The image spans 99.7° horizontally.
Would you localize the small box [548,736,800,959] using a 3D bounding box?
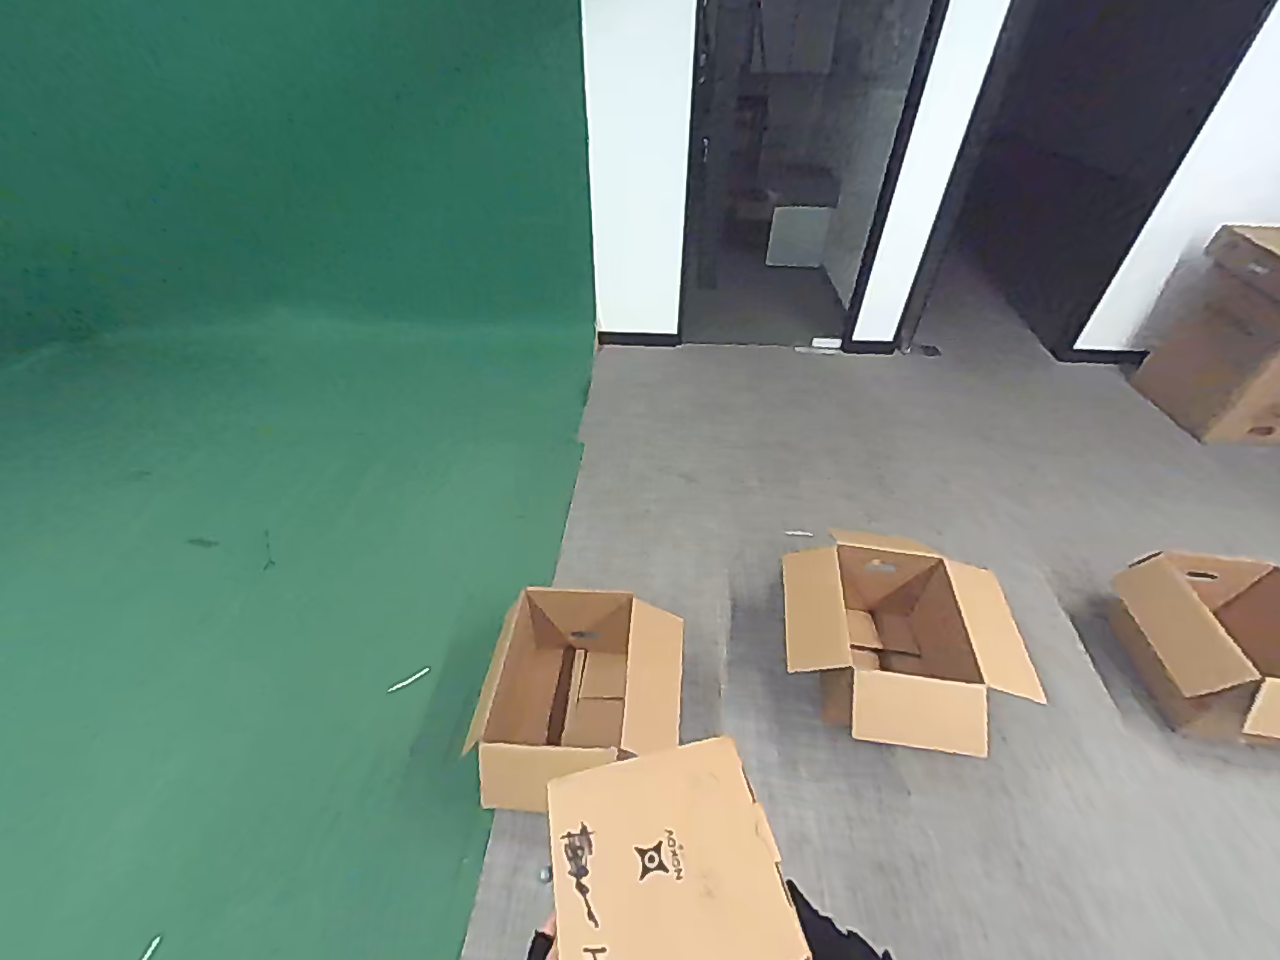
[{"bbox_3d":[0.019,0.362,0.481,0.179,0.176,0.168,-9,36,-7],"label":"small box"}]
